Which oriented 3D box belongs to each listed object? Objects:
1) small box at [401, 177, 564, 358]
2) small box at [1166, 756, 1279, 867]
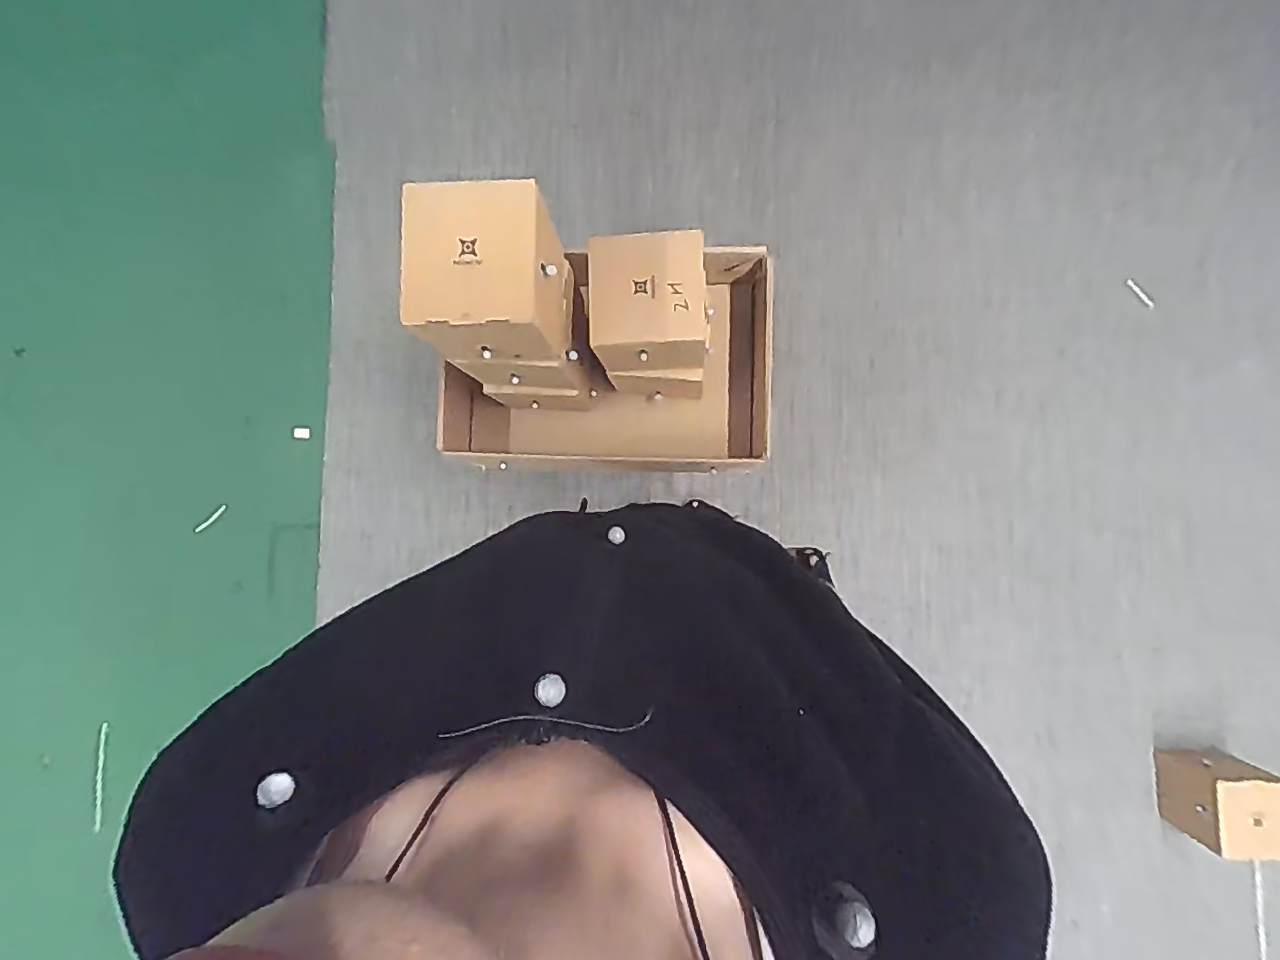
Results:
[{"bbox_3d":[-0.199,-0.272,0.724,0.168,0.176,0.179,0,88,3],"label":"small box"},{"bbox_3d":[1.411,0.780,1.288,0.168,0.176,0.179,-1,87,5],"label":"small box"}]
